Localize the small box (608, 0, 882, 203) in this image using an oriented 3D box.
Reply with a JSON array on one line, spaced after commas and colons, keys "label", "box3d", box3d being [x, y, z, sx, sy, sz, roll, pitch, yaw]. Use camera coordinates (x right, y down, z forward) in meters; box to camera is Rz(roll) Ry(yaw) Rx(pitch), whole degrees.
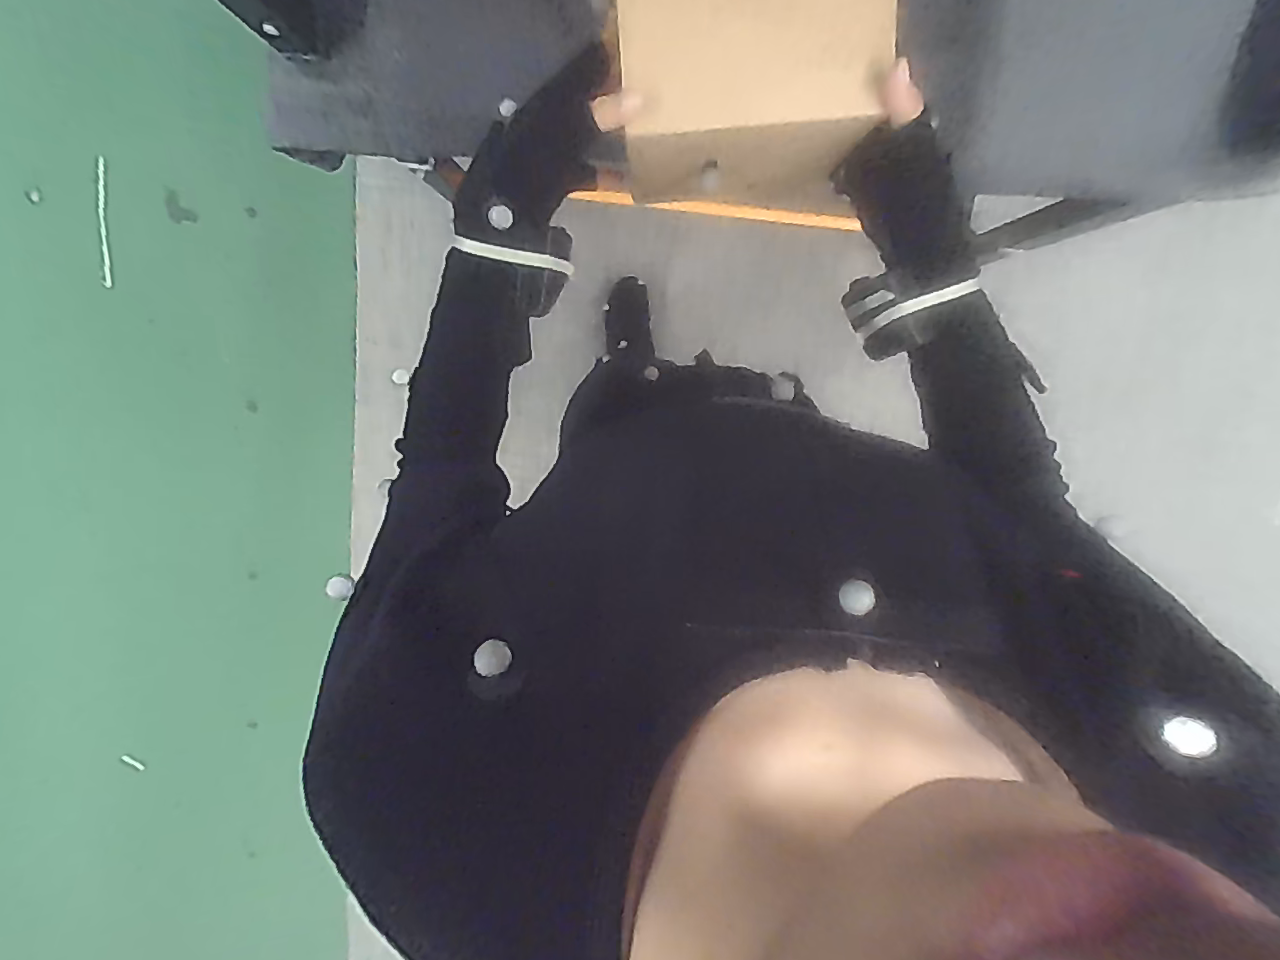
[{"label": "small box", "box3d": [0.065, -0.319, 0.399, 0.168, 0.176, 0.179, -4, 102, 2]}]
